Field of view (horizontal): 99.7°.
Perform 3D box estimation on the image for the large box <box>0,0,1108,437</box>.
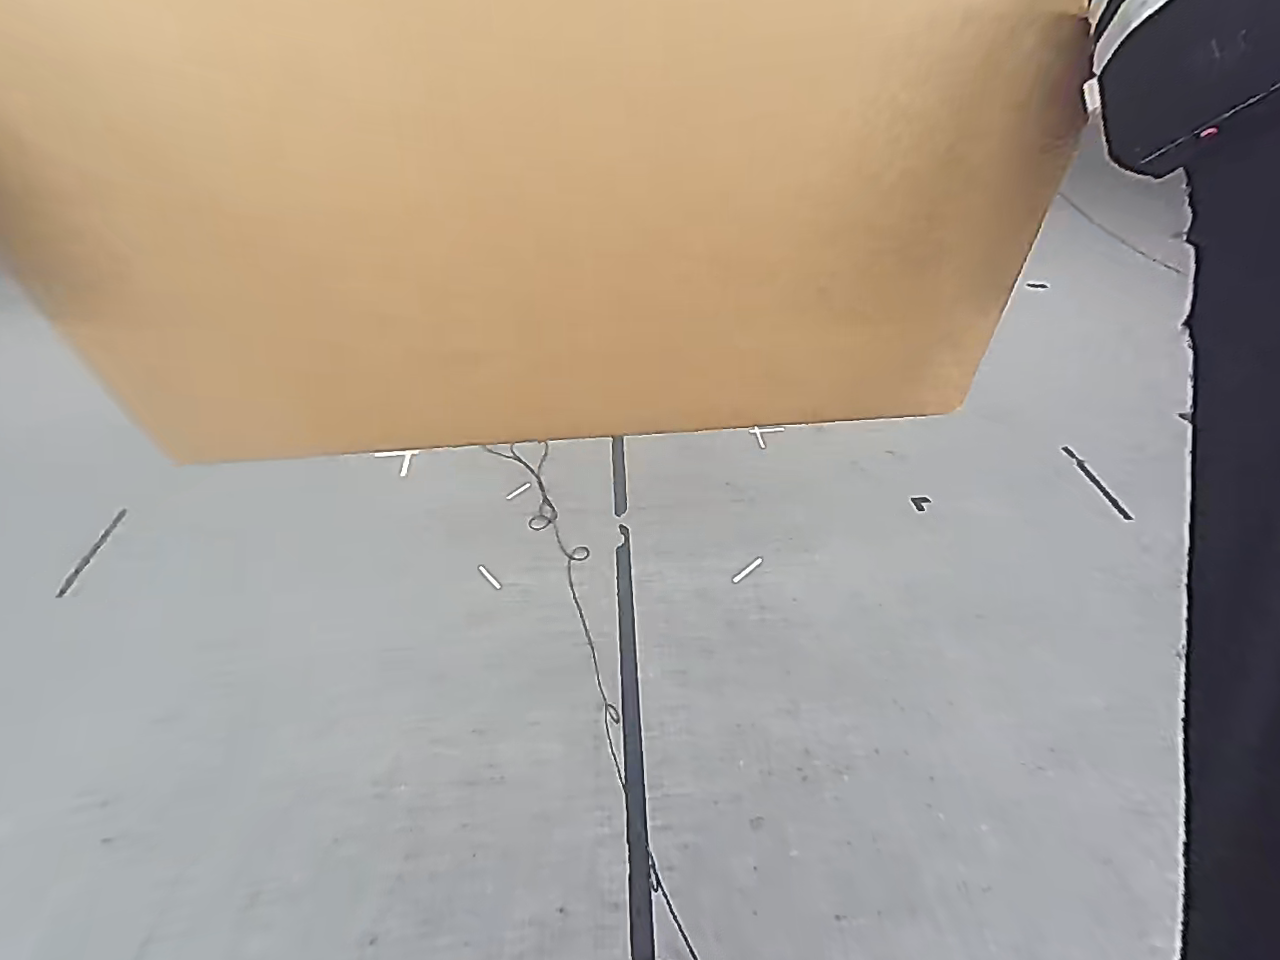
[{"bbox_3d":[-0.048,-0.241,0.289,0.408,0.320,0.320,-3,43,-2],"label":"large box"}]
